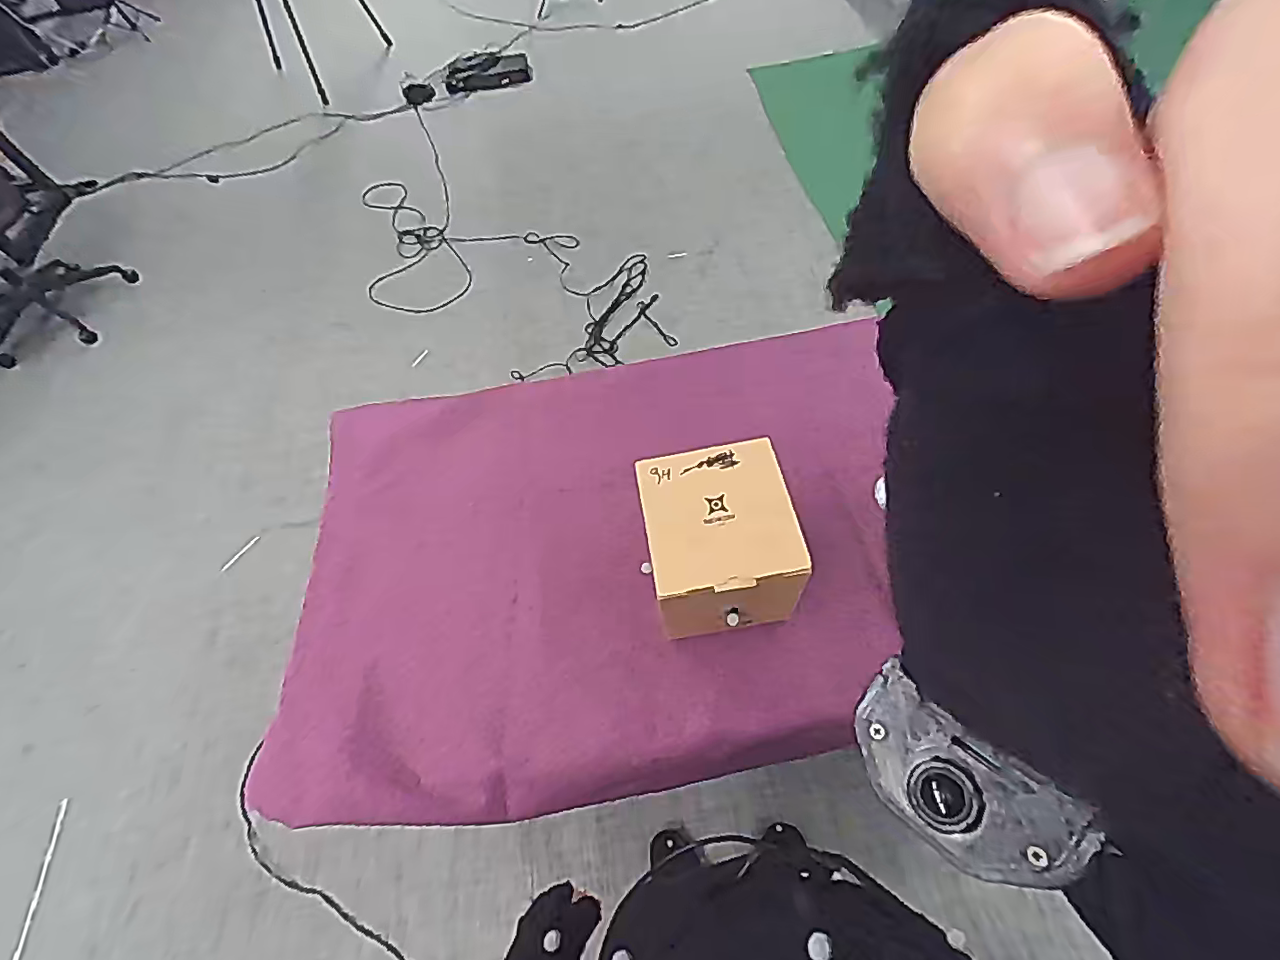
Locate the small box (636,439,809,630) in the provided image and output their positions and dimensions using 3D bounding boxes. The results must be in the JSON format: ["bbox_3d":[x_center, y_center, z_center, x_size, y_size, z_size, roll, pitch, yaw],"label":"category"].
[{"bbox_3d":[0.096,0.077,0.672,0.168,0.176,0.179,-10,59,1],"label":"small box"}]
